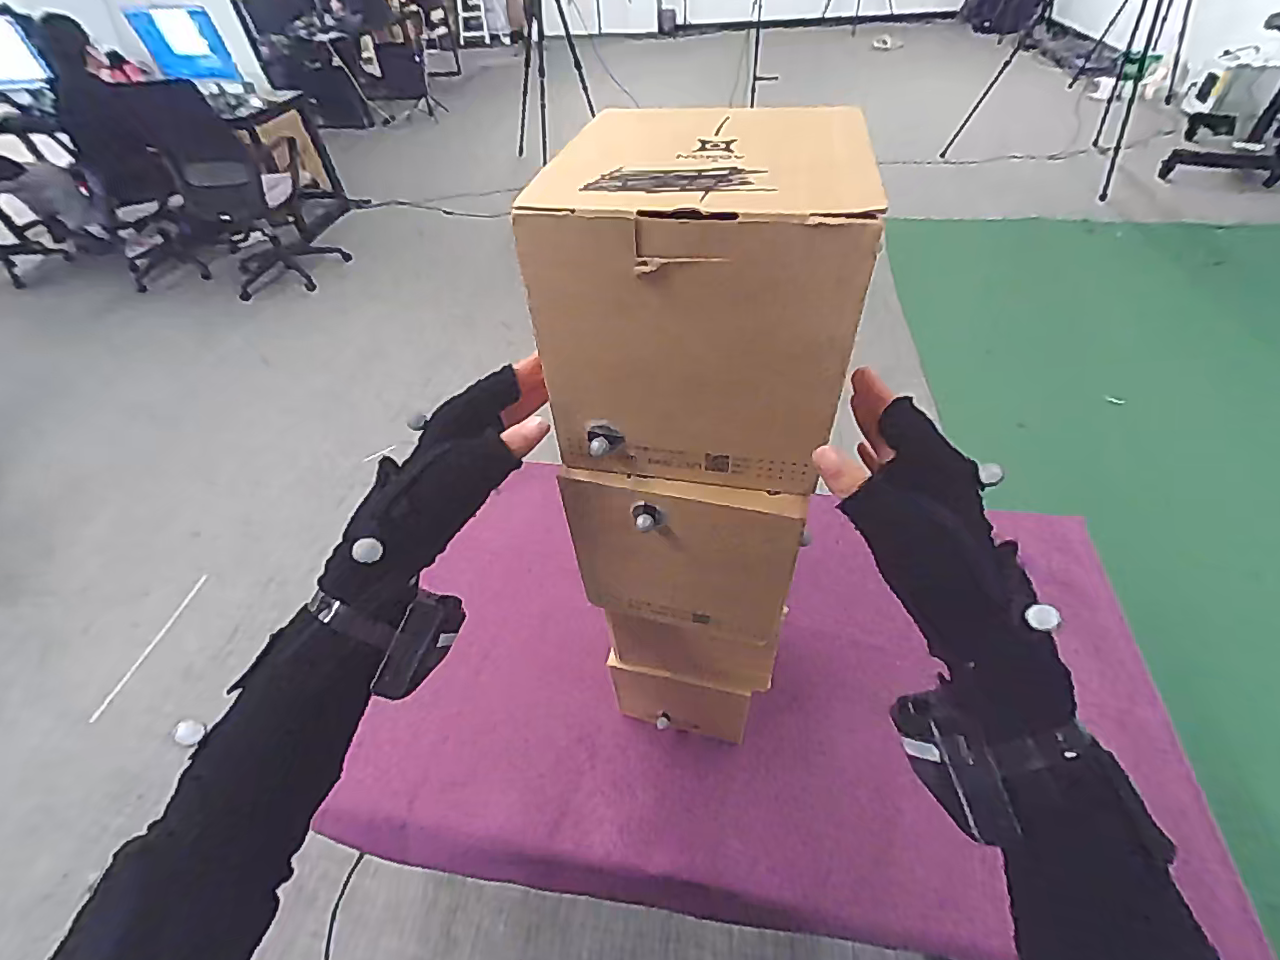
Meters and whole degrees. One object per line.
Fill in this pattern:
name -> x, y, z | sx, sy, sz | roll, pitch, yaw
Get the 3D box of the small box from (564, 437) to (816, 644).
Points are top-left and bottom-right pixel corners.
small box -> 0.053, 0.007, 0.455 | 0.168, 0.176, 0.179 | 9, 48, 14

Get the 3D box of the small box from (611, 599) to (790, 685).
small box -> 0.068, 0.101, 0.588 | 0.179, 0.176, 0.168 | 7, 48, 12

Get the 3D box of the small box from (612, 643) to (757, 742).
small box -> 0.072, 0.212, 0.707 | 0.168, 0.176, 0.179 | 8, 49, 13

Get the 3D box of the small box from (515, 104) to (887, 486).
small box -> 0.044, -0.116, 0.344 | 0.168, 0.176, 0.179 | 7, 47, 11
